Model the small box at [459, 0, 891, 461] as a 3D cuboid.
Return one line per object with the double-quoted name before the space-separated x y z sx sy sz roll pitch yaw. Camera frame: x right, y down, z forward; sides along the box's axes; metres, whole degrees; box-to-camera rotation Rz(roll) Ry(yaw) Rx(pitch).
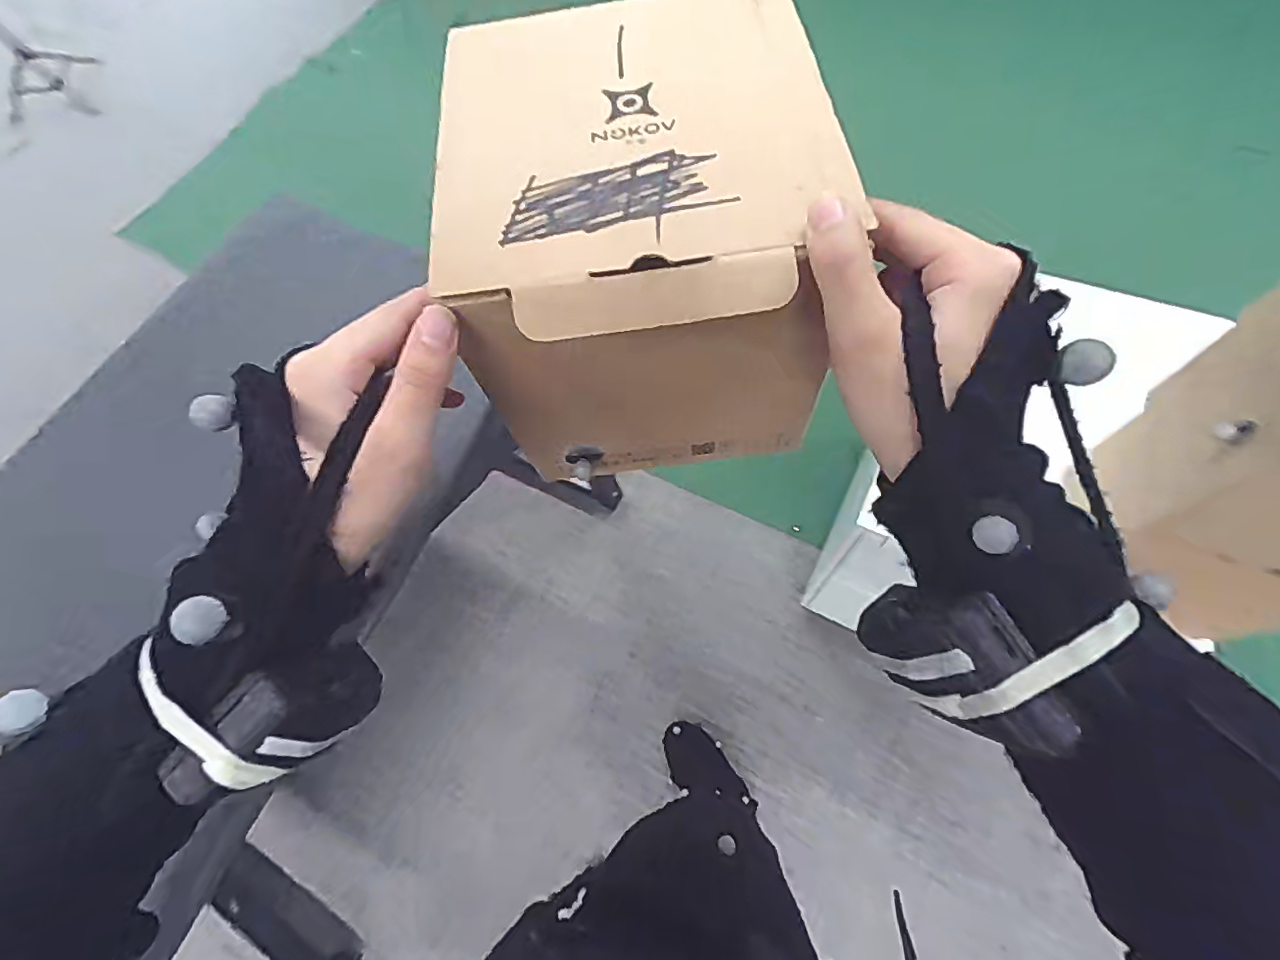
"small box" 0.014 -0.120 0.305 0.168 0.176 0.179 -6 65 3
